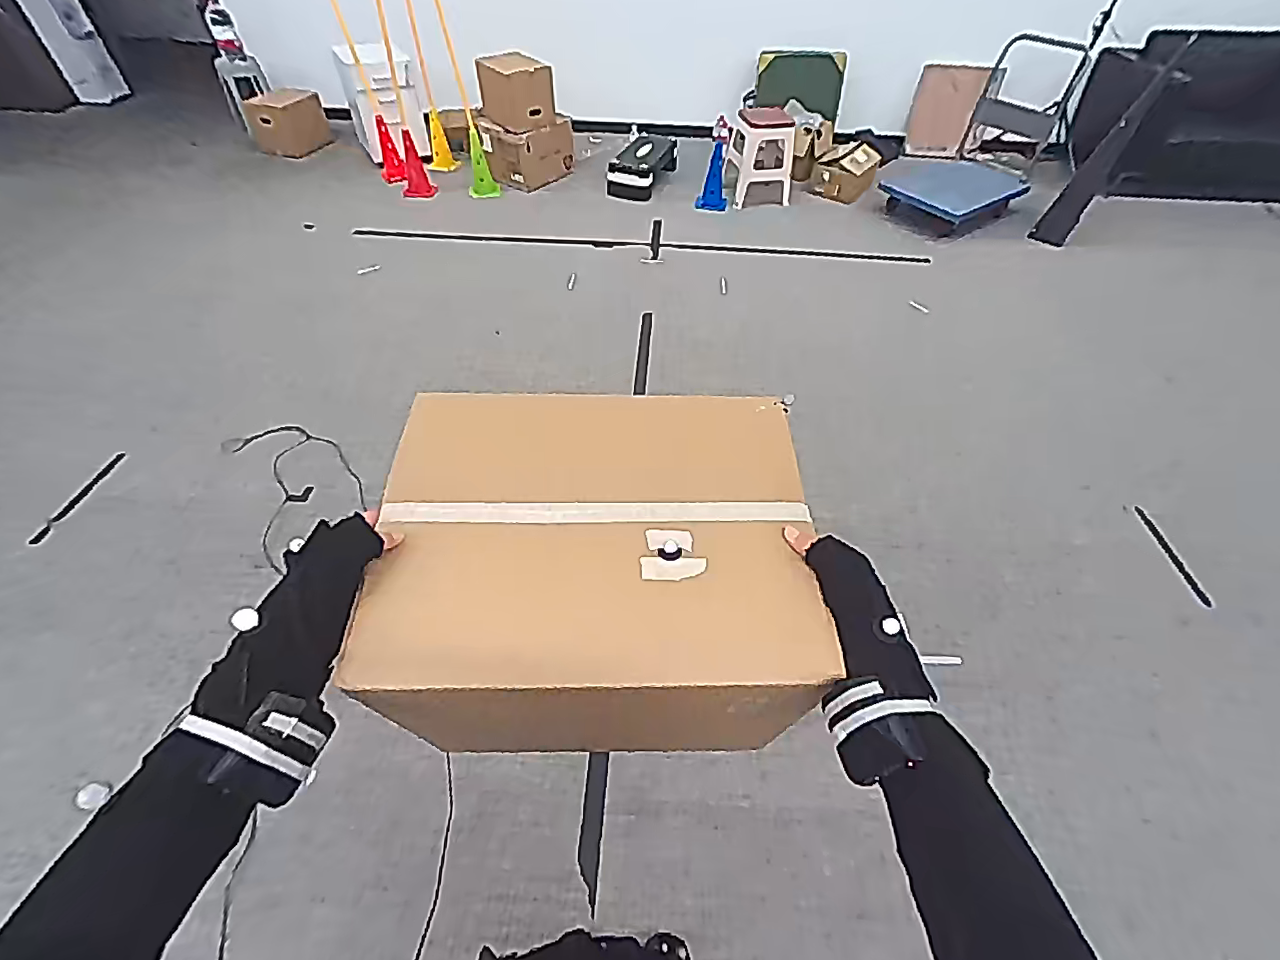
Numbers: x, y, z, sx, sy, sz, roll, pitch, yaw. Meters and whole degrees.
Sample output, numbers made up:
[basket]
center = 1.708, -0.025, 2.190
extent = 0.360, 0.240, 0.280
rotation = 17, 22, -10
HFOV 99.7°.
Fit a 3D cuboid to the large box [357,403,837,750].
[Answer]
[large box]
center = -0.041, 0.124, 0.647
extent = 0.408, 0.320, 0.320
rotation = 1, 55, -2
